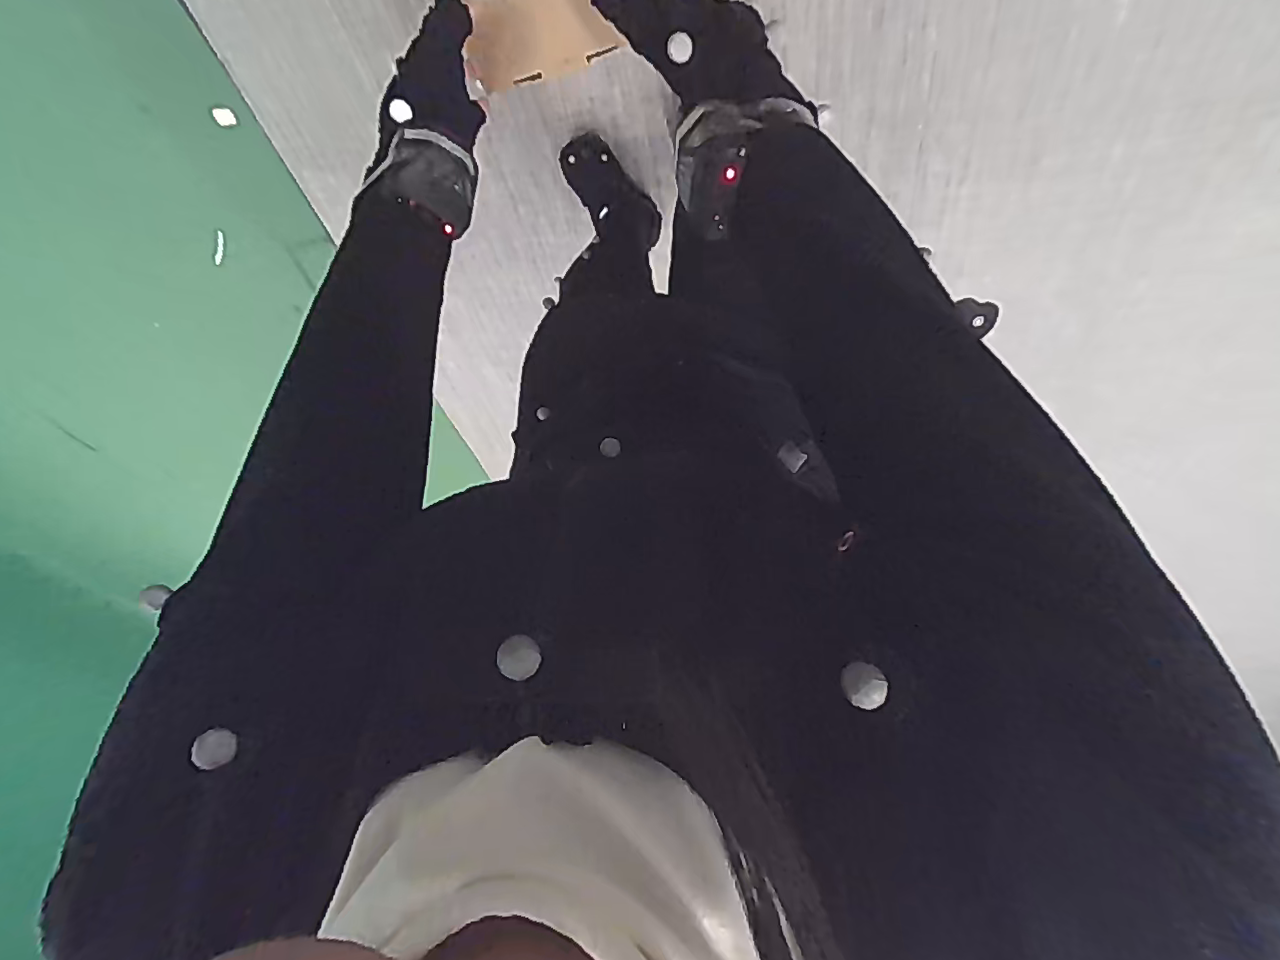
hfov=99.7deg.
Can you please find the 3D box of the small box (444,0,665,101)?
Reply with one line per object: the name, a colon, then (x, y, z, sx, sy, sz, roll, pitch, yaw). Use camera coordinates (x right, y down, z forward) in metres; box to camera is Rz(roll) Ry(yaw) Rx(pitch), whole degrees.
small box: (-0.078, -0.476, 0.467, 0.168, 0.176, 0.179, -5, 140, 18)
